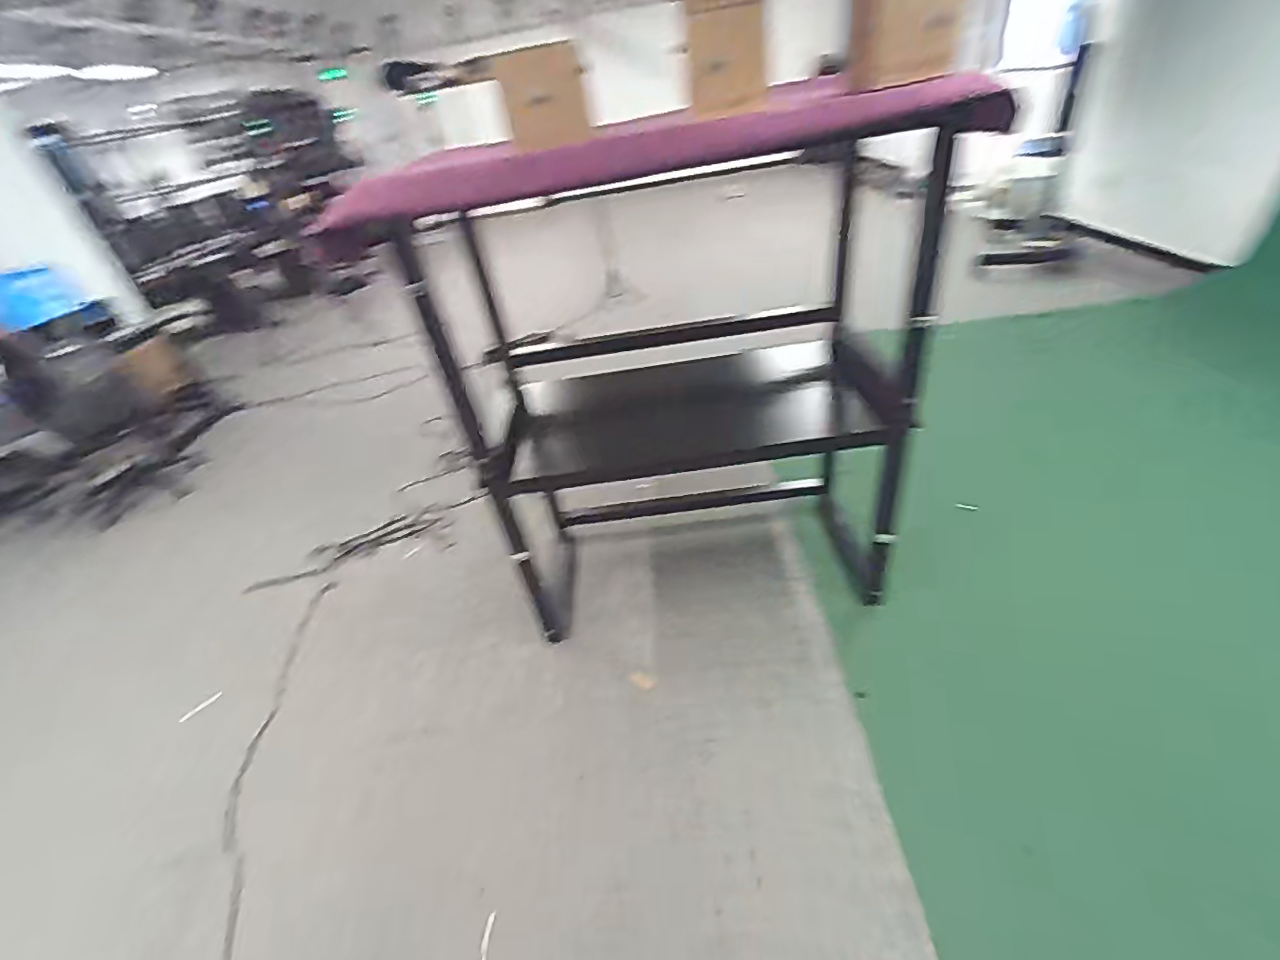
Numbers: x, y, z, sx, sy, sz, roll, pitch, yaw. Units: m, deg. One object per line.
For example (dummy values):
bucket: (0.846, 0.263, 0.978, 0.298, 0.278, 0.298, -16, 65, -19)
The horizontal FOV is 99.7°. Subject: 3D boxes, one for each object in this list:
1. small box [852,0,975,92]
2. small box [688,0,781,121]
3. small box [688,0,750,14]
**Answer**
small box: (0.526, -0.872, 1.050, 0.168, 0.176, 0.179, -8, 34, 3)
small box: (0.187, -0.824, 1.070, 0.168, 0.176, 0.179, -4, 35, 9)
small box: (0.166, -0.958, 0.978, 0.168, 0.176, 0.179, -3, 35, 9)
